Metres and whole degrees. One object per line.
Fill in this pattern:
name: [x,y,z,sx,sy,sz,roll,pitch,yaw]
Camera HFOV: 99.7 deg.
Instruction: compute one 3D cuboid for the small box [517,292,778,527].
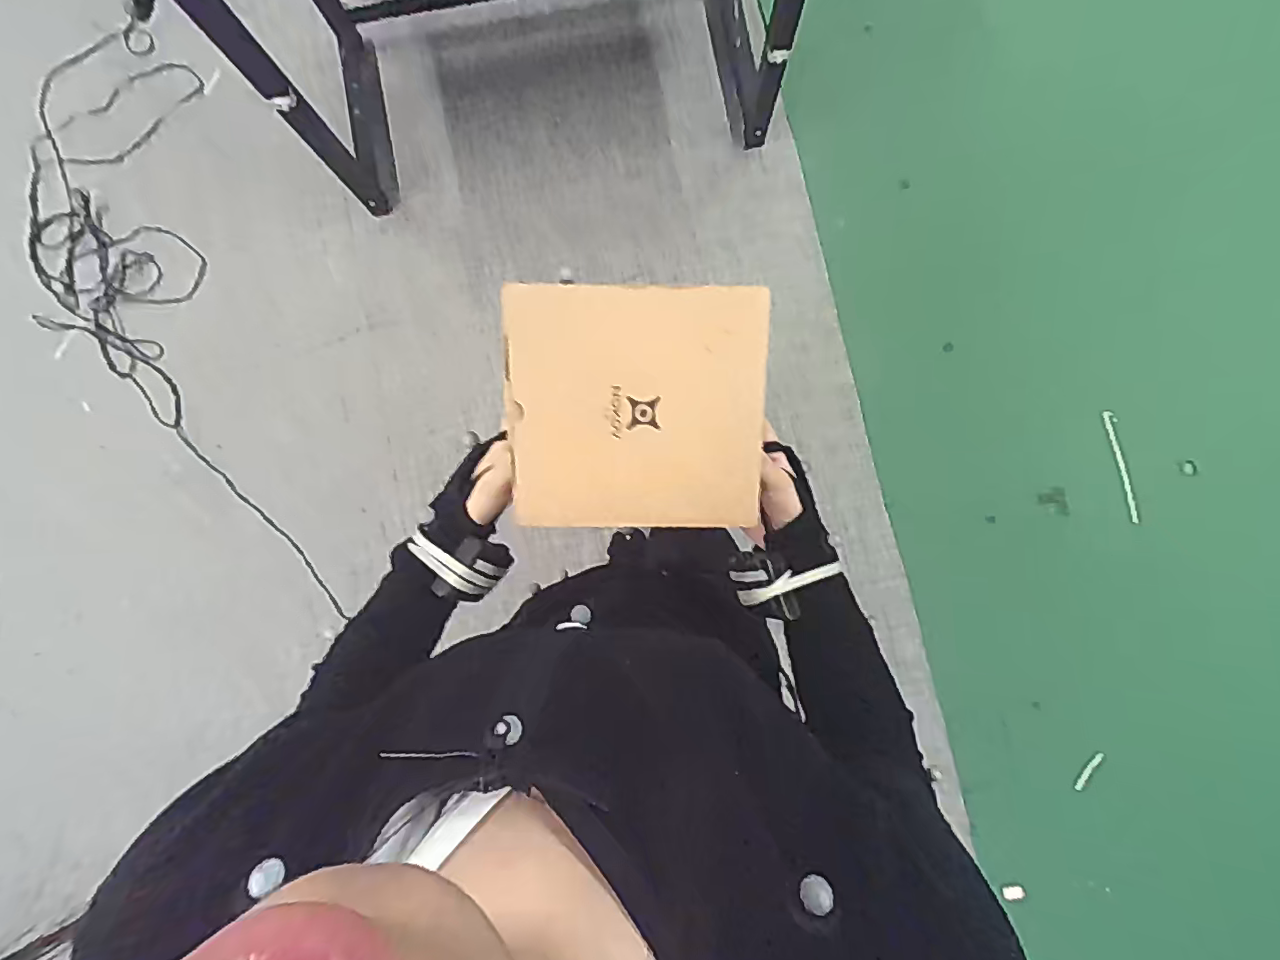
small box: [0.003,-0.066,0.453,0.179,0.176,0.168,0,105,0]
